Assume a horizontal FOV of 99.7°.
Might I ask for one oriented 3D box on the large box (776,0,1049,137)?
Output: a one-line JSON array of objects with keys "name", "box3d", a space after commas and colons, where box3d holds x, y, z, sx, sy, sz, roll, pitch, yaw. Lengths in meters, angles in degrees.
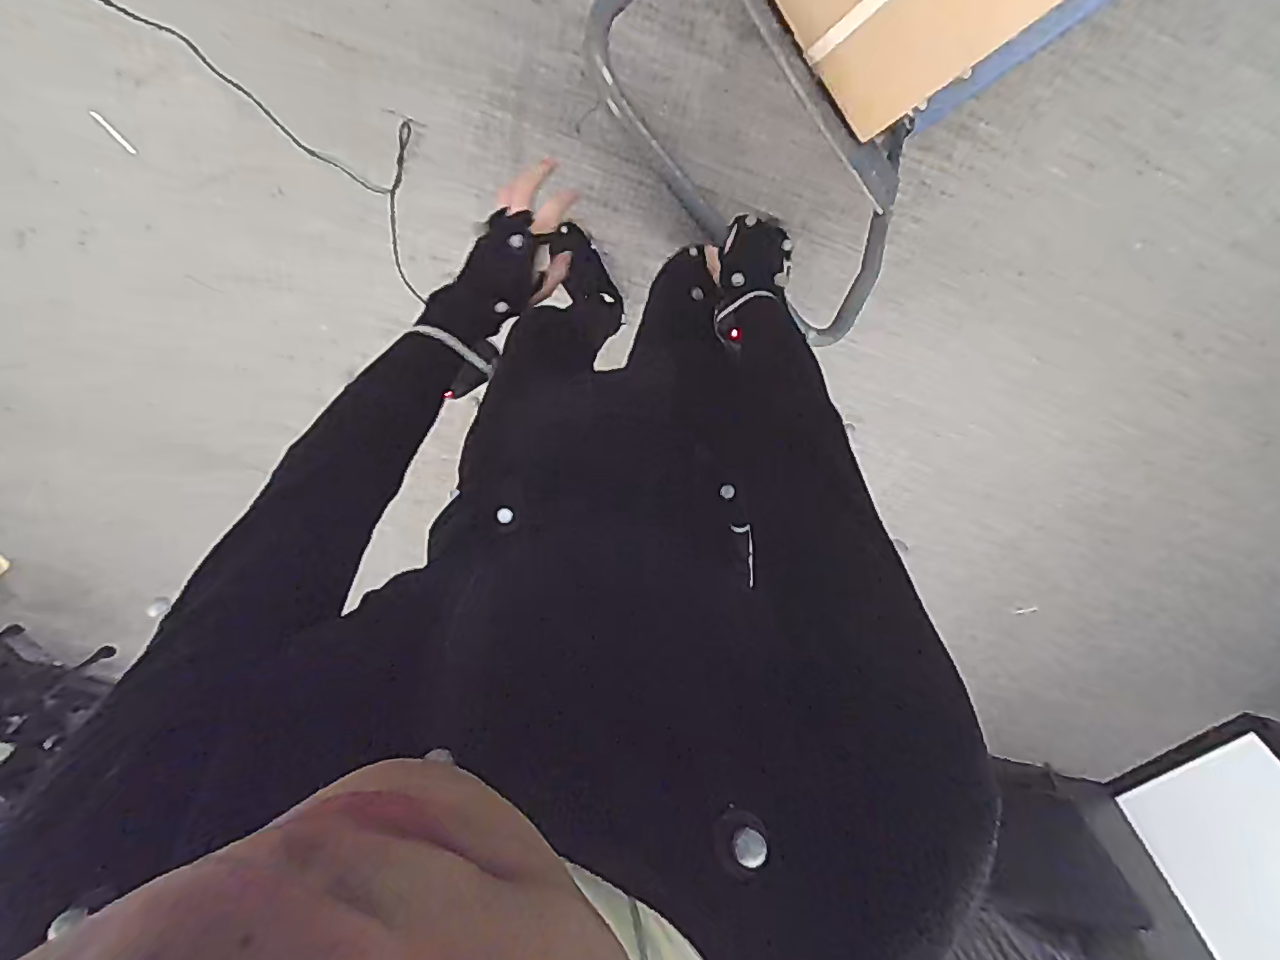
[{"name": "large box", "box3d": [0.430, -0.808, 0.765, 0.320, 0.320, 0.408, 41, 141, -26]}]
